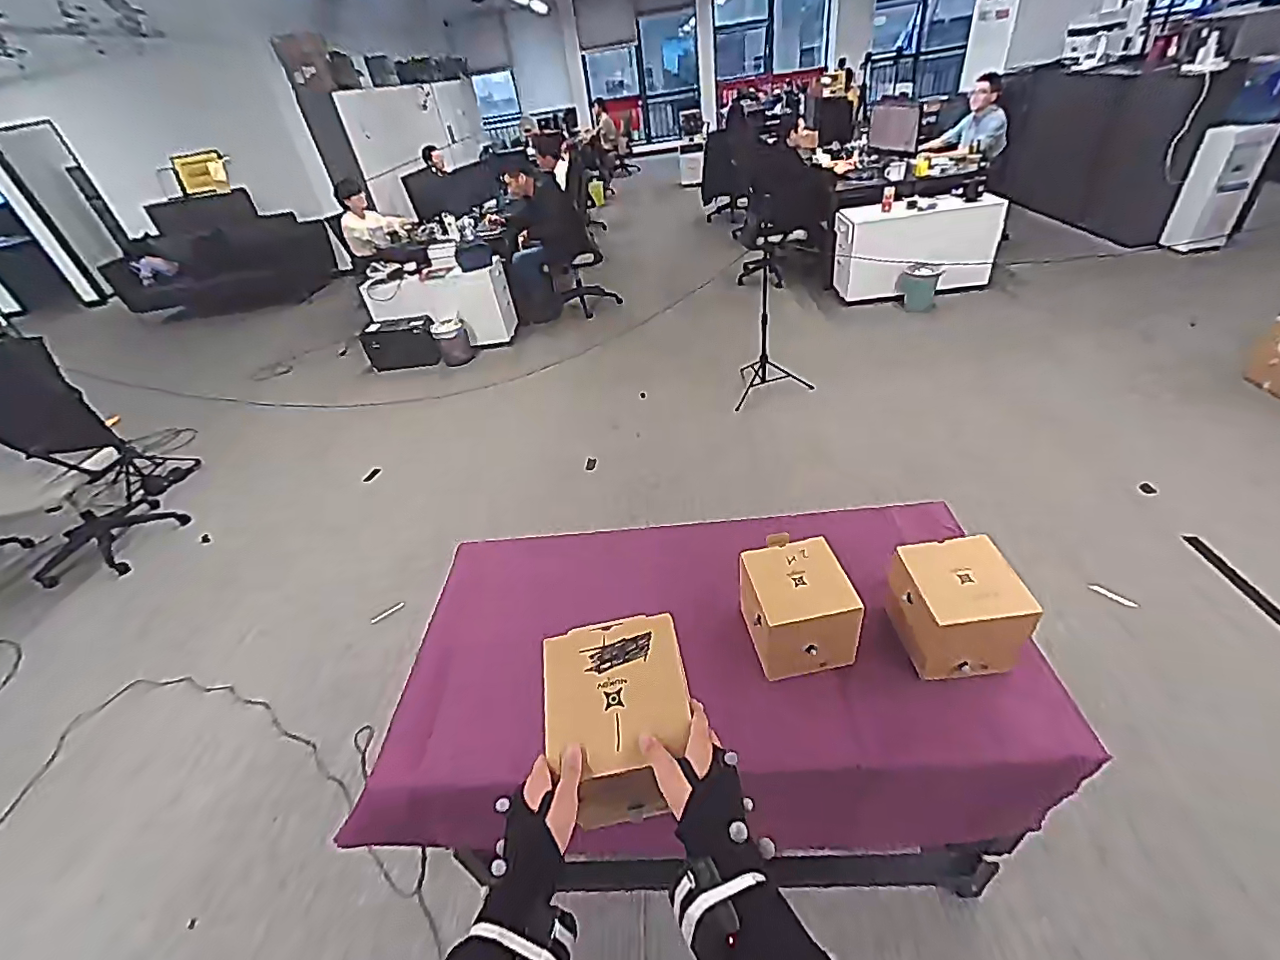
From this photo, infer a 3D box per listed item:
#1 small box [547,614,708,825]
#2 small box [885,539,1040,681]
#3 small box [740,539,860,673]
[{"bbox_3d":[-0.015,0.301,0.680,0.168,0.176,0.179,-12,44,1],"label":"small box"},{"bbox_3d":[0.561,0.232,0.972,0.168,0.176,0.179,-8,37,4],"label":"small box"},{"bbox_3d":[0.292,0.241,1.016,0.168,0.176,0.179,-10,37,-2],"label":"small box"}]
